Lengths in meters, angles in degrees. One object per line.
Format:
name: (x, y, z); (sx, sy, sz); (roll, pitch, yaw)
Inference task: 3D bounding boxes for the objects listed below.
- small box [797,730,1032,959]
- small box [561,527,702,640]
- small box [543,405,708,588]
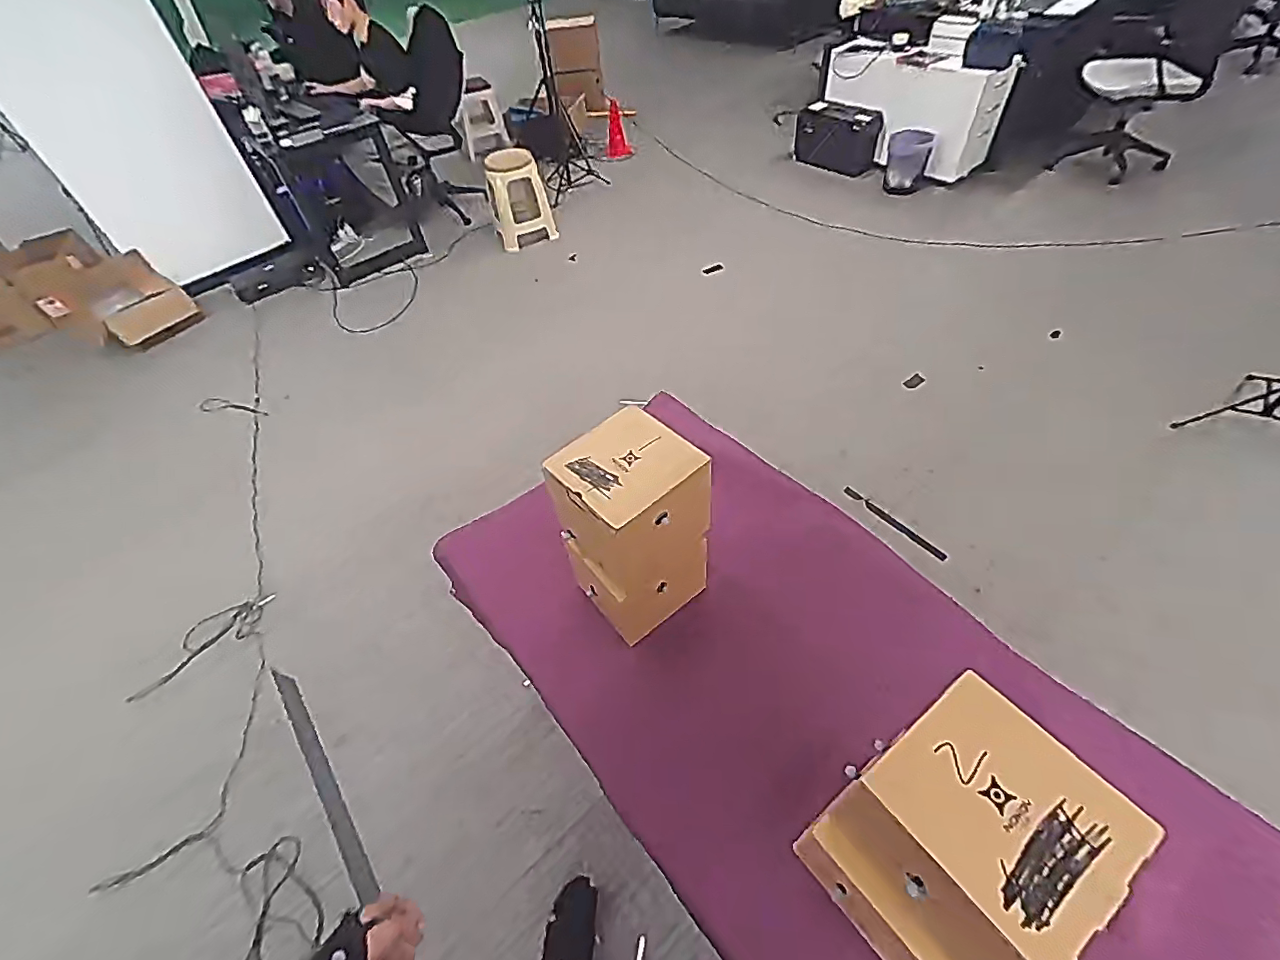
small box: (0.307, 0.445, 0.646); (0.179, 0.176, 0.168); (-32, 54, -21)
small box: (-0.008, 0.140, 0.927); (0.179, 0.176, 0.168); (-33, 55, -20)
small box: (-0.014, 0.028, 0.807); (0.179, 0.176, 0.168); (-36, 56, -23)
